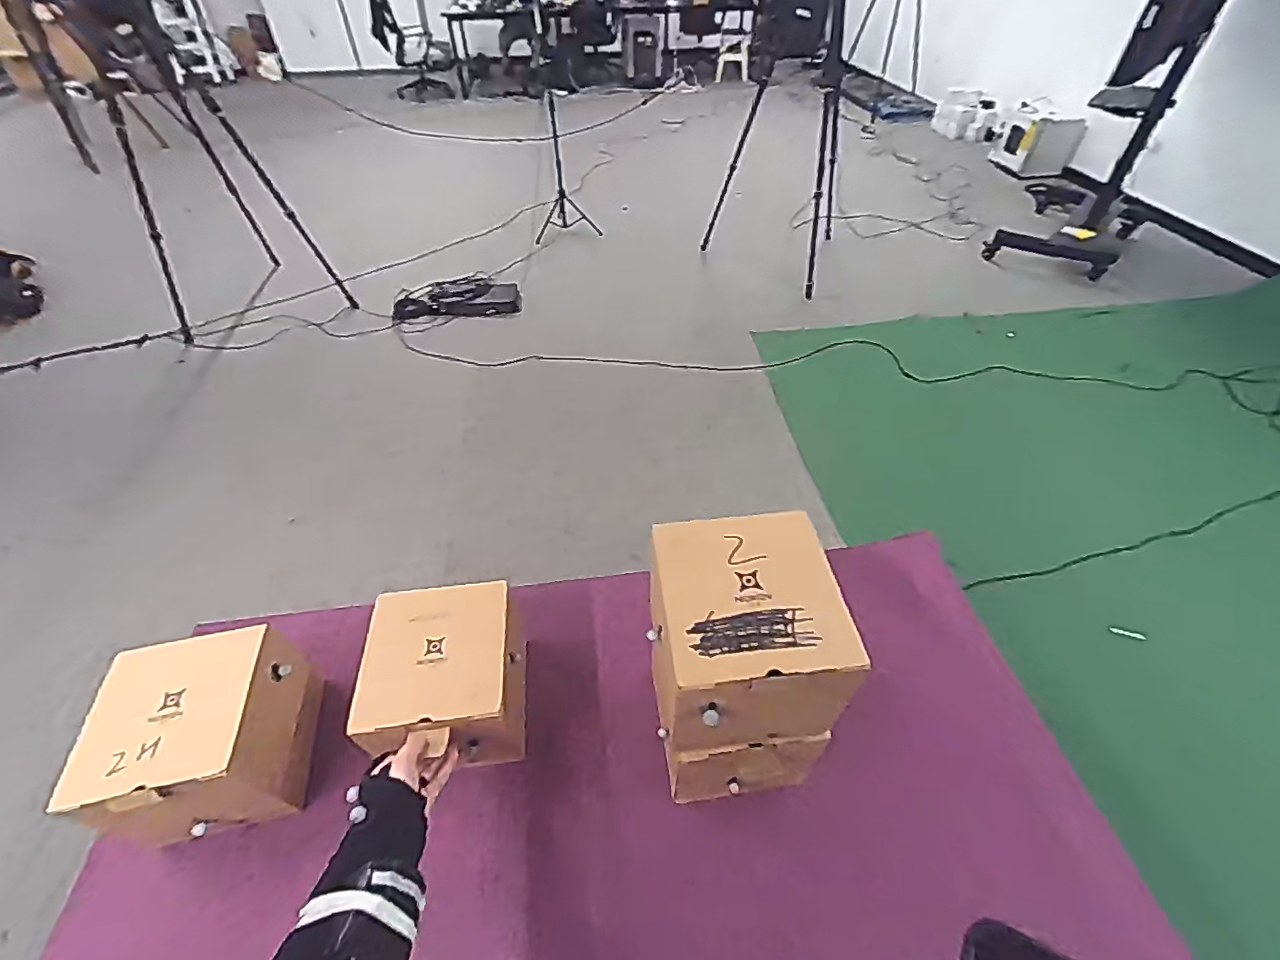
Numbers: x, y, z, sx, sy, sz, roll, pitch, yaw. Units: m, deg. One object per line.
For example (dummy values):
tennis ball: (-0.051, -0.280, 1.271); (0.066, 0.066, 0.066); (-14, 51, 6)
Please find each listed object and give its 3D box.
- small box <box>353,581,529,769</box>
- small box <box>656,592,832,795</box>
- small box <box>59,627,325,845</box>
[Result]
small box: (-0.239, 0.257, 0.701); (0.168, 0.176, 0.179); (-6, 47, -5)
small box: (0.113, 0.268, 0.680); (0.168, 0.176, 0.179); (-7, 48, -5)
small box: (-0.512, 0.310, 0.658); (0.168, 0.176, 0.179); (-11, 48, -8)
